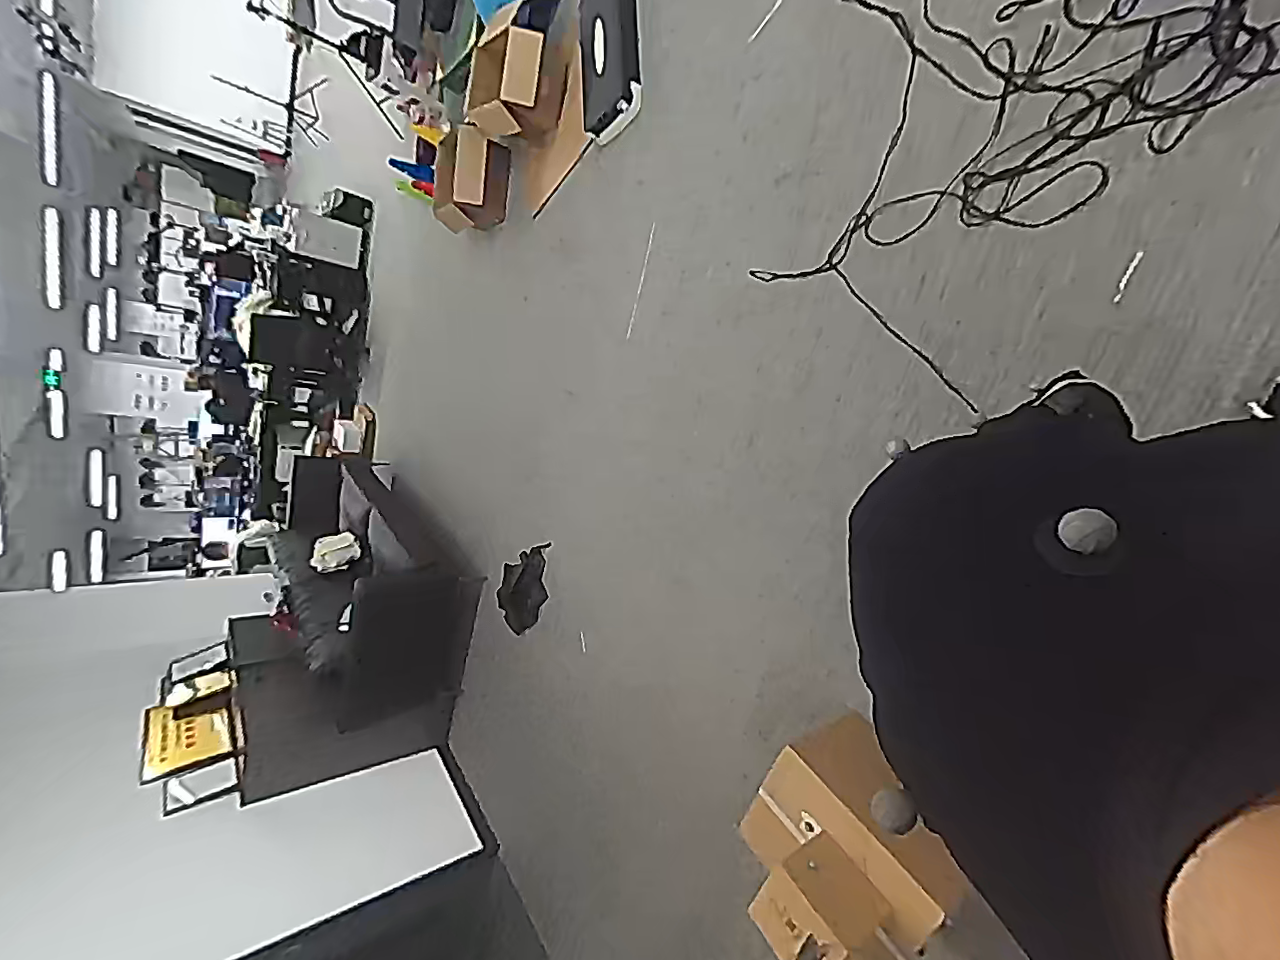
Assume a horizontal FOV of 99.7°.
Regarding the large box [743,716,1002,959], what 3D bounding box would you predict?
[{"bbox_3d":[0.533,0.851,1.281,0.408,0.320,0.320,41,118,45],"label":"large box"}]
